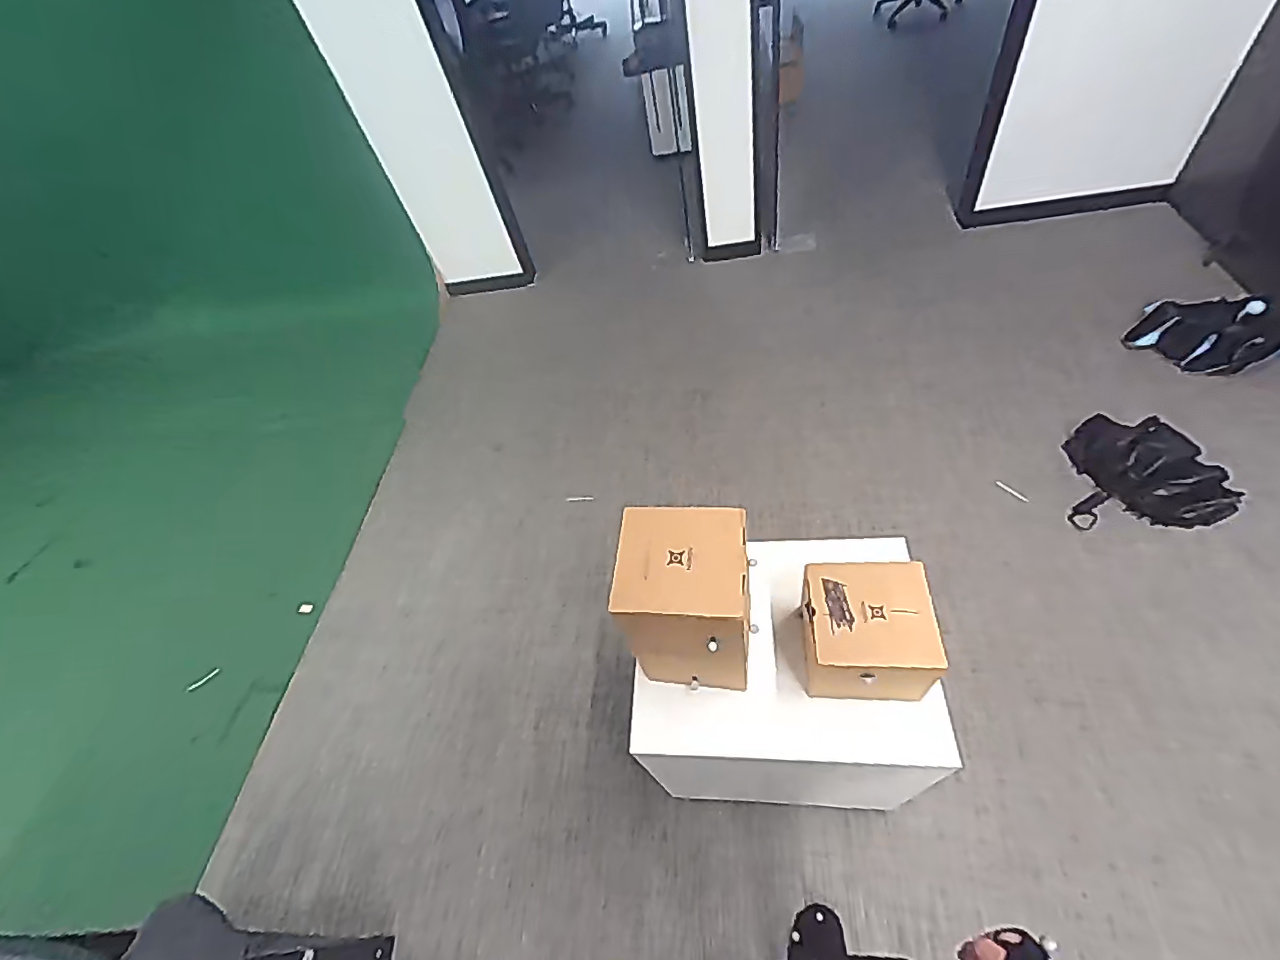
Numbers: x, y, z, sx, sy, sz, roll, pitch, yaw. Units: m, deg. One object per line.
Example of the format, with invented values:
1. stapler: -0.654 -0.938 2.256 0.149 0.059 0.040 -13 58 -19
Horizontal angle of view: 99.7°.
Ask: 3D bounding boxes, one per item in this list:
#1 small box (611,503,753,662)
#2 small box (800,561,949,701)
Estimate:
1. small box: 0.068 0.148 0.769 0.179 0.176 0.168 -1 51 10
2. small box: 0.352 0.241 0.855 0.179 0.176 0.168 -1 52 8
